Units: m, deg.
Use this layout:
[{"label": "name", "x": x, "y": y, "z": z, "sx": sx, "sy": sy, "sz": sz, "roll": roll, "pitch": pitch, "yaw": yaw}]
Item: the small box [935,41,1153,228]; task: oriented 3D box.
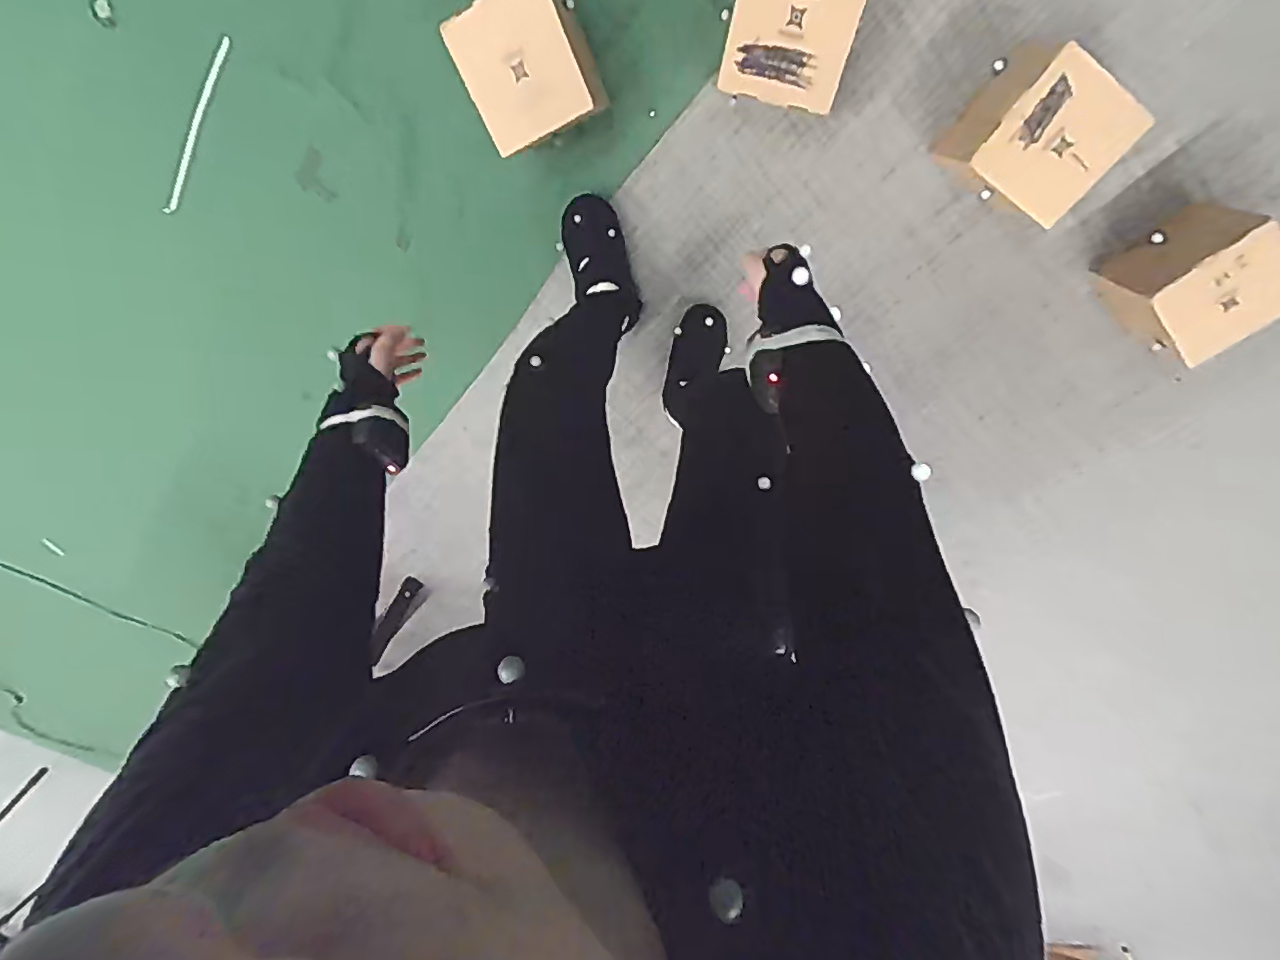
[{"label": "small box", "x": 0.595, "y": -0.520, "z": 0.825, "sx": 0.179, "sy": 0.176, "sz": 0.168, "roll": 28, "pitch": 124, "yaw": -14}]

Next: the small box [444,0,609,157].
[{"label": "small box", "x": -0.164, "y": -0.634, "z": 0.841, "sx": 0.168, "sy": 0.176, "sz": 0.179, "roll": -16, "pitch": 121, "yaw": 18}]

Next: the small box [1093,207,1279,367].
[{"label": "small box", "x": 0.933, "y": -0.331, "z": 0.917, "sx": 0.179, "sy": 0.176, "sz": 0.168, "roll": 39, "pitch": 120, "yaw": -20}]
